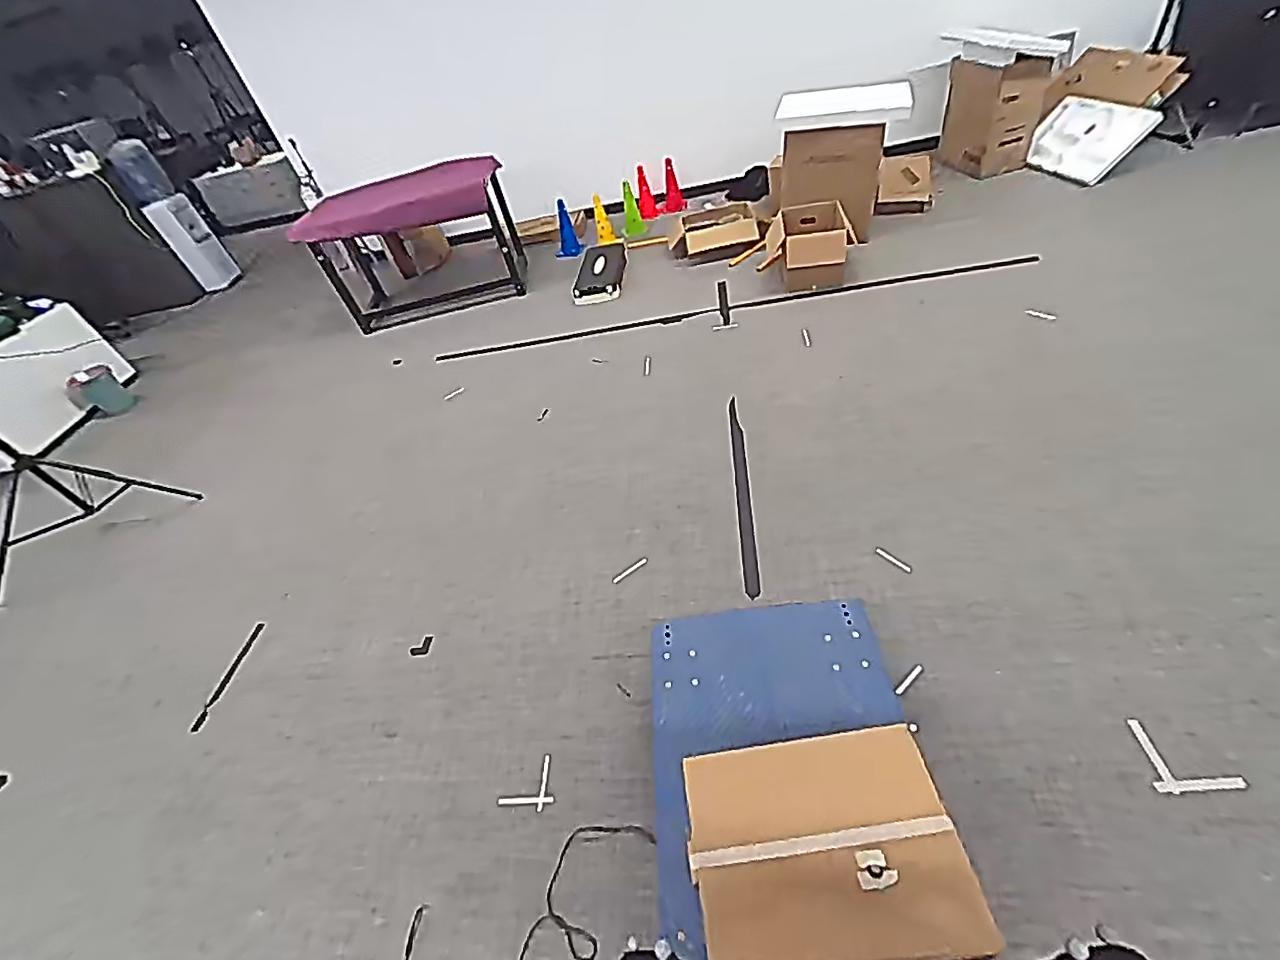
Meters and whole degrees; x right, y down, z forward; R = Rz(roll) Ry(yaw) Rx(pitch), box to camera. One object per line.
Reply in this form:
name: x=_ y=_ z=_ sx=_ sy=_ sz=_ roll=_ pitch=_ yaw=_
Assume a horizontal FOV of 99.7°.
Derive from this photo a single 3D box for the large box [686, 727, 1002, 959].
large box: x=0.315 y=0.686 z=0.958 sx=0.408 sy=0.320 sz=0.320 roll=-11 pitch=44 yaw=3
